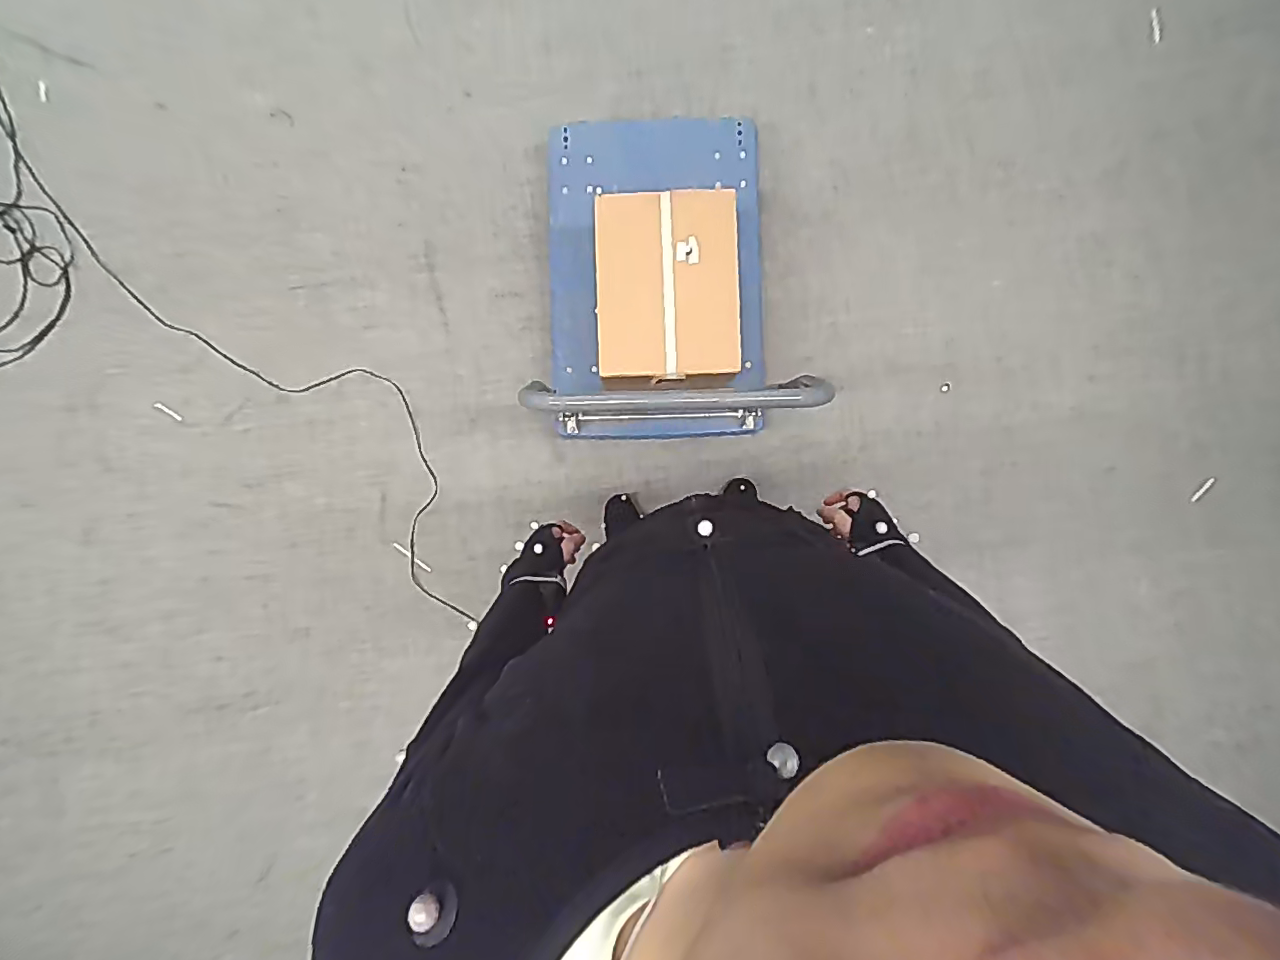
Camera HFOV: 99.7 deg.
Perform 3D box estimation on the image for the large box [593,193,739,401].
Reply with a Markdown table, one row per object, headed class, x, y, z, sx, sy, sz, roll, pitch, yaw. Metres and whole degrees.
| class | x | y | z | sx | sy | sz | roll | pitch | yaw |
| --- | --- | --- | --- | --- | --- | --- | --- | --- | --- |
| large box | 0.060 | -0.426 | 1.342 | 0.320 | 0.320 | 0.408 | -2 | 88 | 0 |
